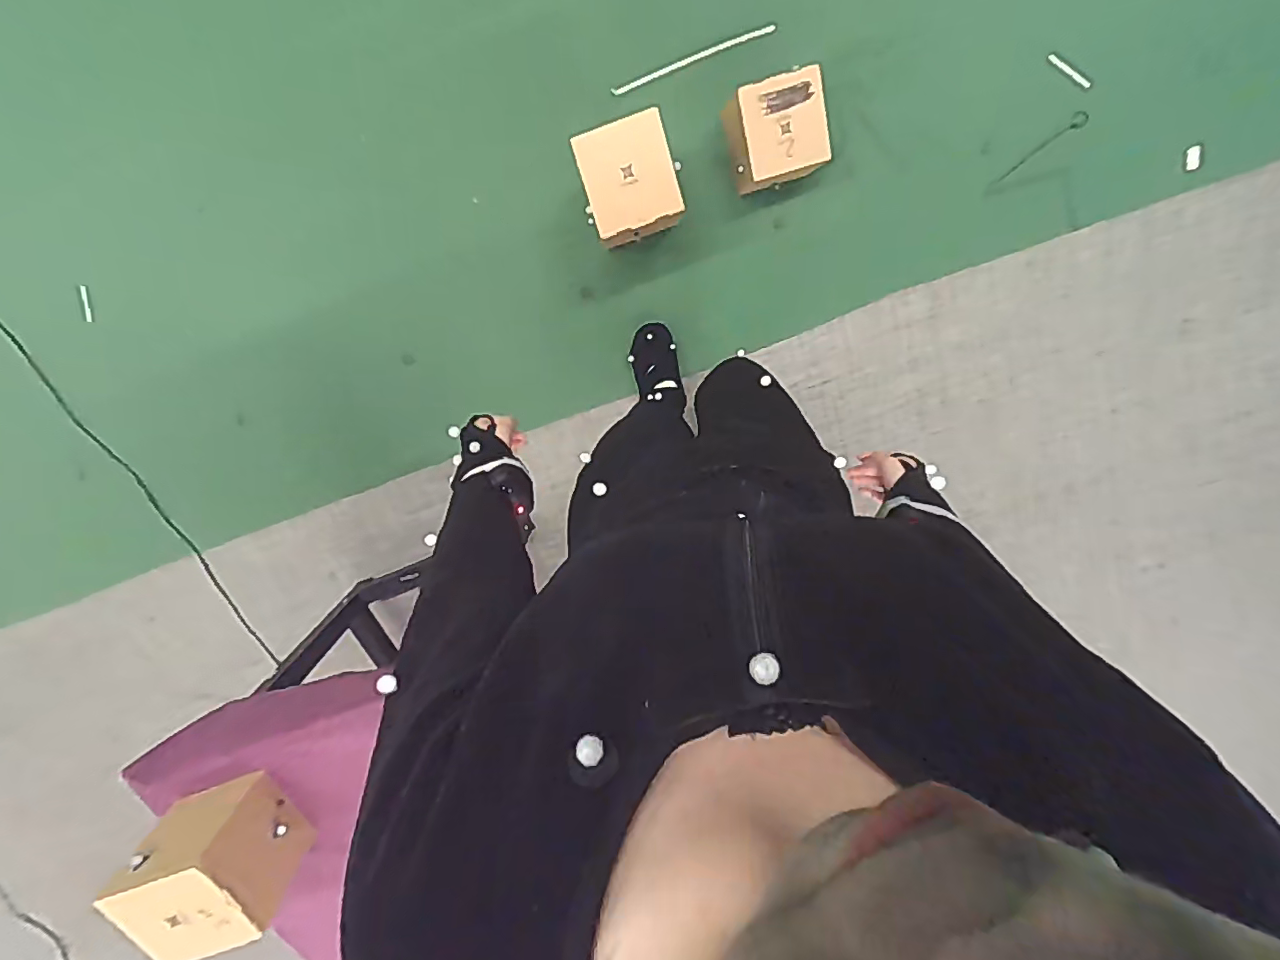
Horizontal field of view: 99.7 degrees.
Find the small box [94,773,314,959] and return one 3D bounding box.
[{"bbox_3d":[-0.674,0.613,0.863,0.179,0.176,0.168,-21,109,3],"label":"small box"}]

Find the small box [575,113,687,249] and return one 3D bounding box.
[{"bbox_3d":[-0.016,-0.573,1.060,0.168,0.176,0.179,-17,108,6],"label":"small box"}]
